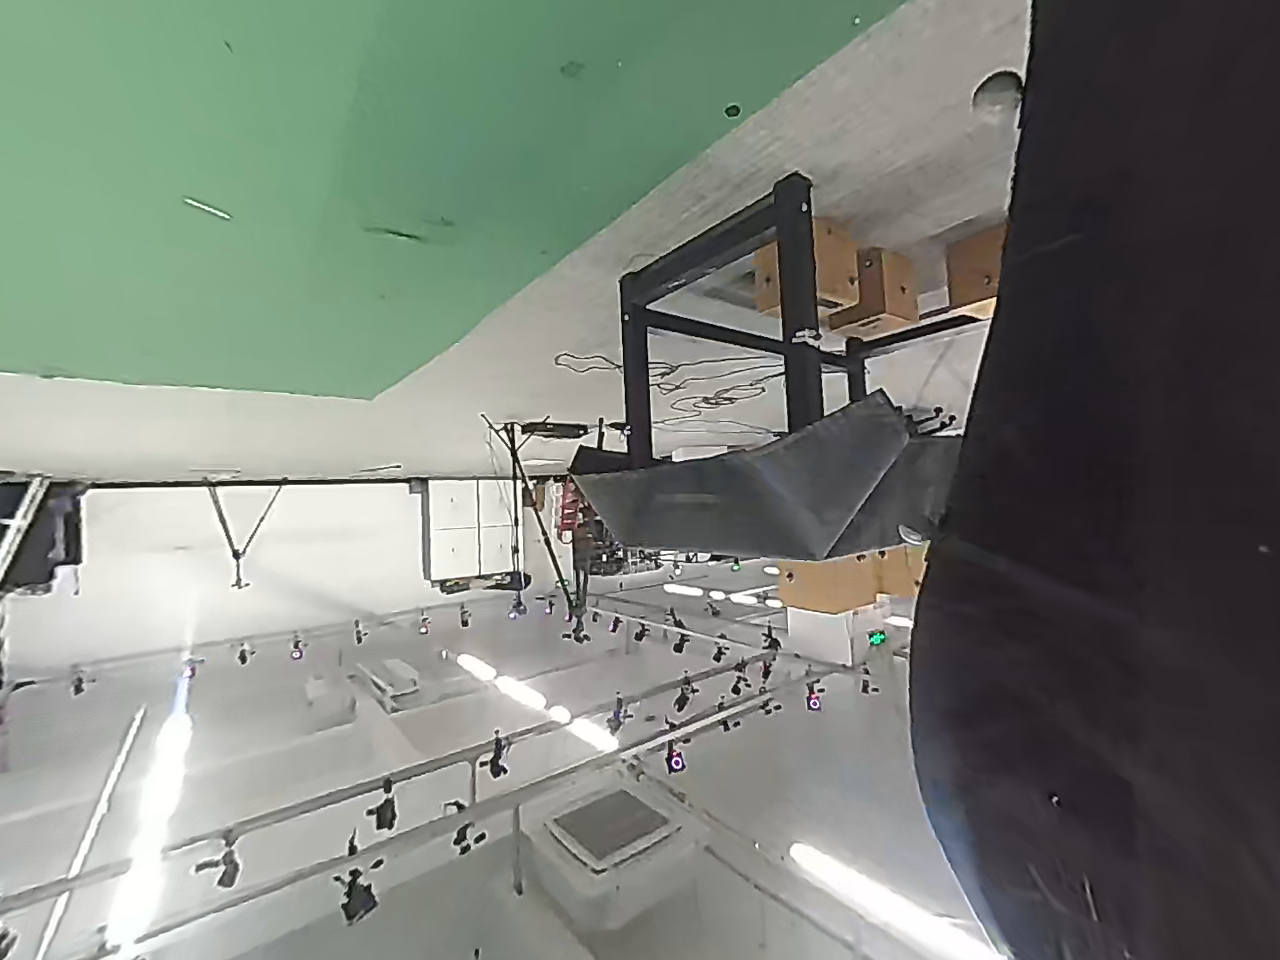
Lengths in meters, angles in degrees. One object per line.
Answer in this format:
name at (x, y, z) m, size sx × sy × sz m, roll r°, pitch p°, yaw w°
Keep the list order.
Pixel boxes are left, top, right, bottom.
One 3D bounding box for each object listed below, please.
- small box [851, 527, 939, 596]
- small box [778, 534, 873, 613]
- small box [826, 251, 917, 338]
small box at (0.713, 0.220, 1.515) m, size 0.179 × 0.176 × 0.168 m, roll -1°, pitch 178°, yaw -34°
small box at (0.468, 0.228, 1.373) m, size 0.168 × 0.176 × 0.179 m, roll -3°, pitch 179°, yaw -36°
small box at (0.627, -0.503, 1.474) m, size 0.179 × 0.176 × 0.168 m, roll -3°, pitch 179°, yaw -37°
